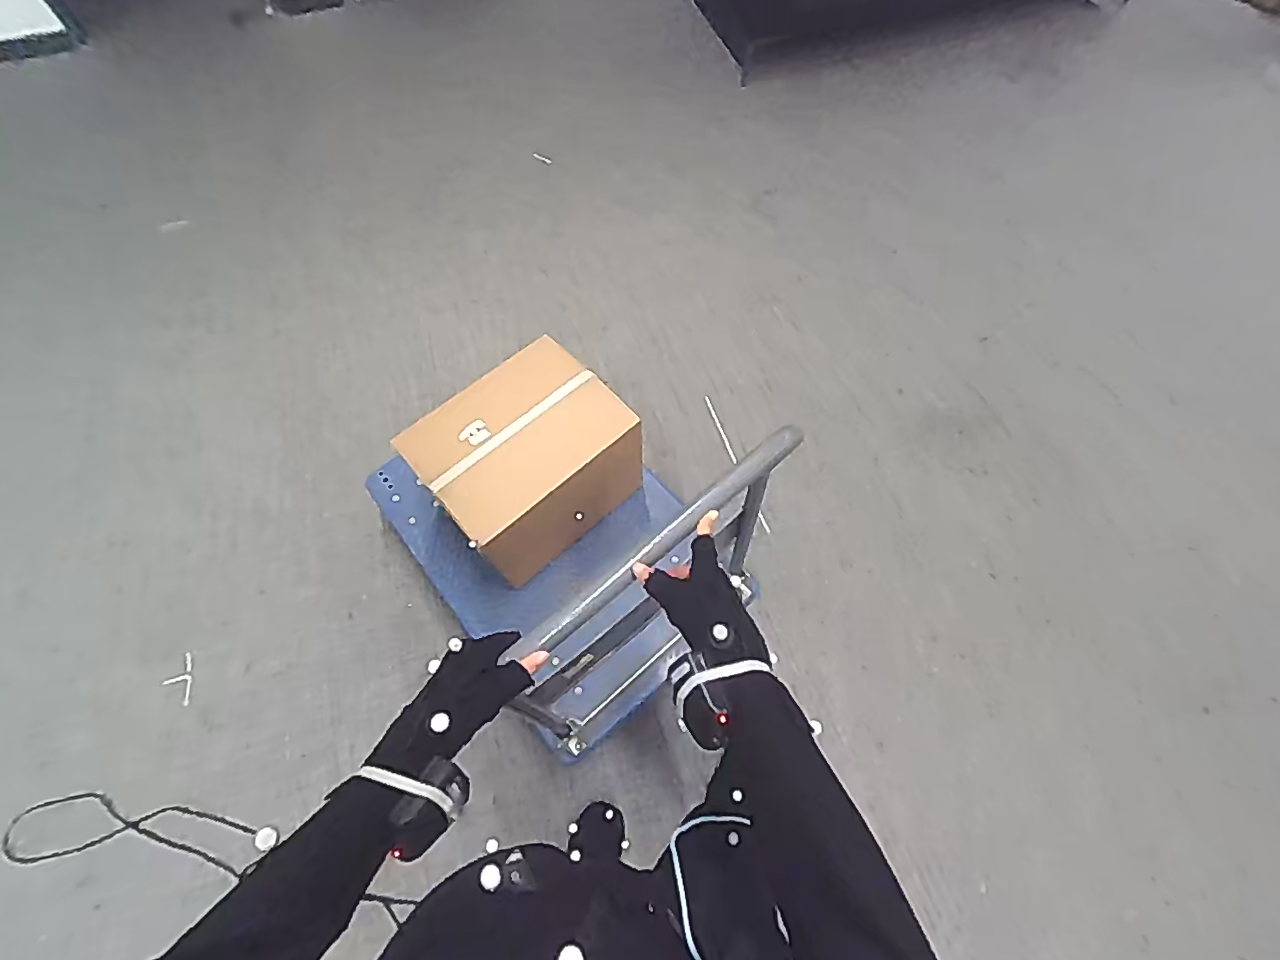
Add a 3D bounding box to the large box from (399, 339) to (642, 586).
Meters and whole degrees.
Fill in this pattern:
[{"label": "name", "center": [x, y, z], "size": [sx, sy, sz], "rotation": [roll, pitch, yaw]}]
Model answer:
[{"label": "large box", "center": [-0.239, -0.031, 1.231], "size": [0.408, 0.320, 0.320], "rotation": [-42, 70, -16]}]
